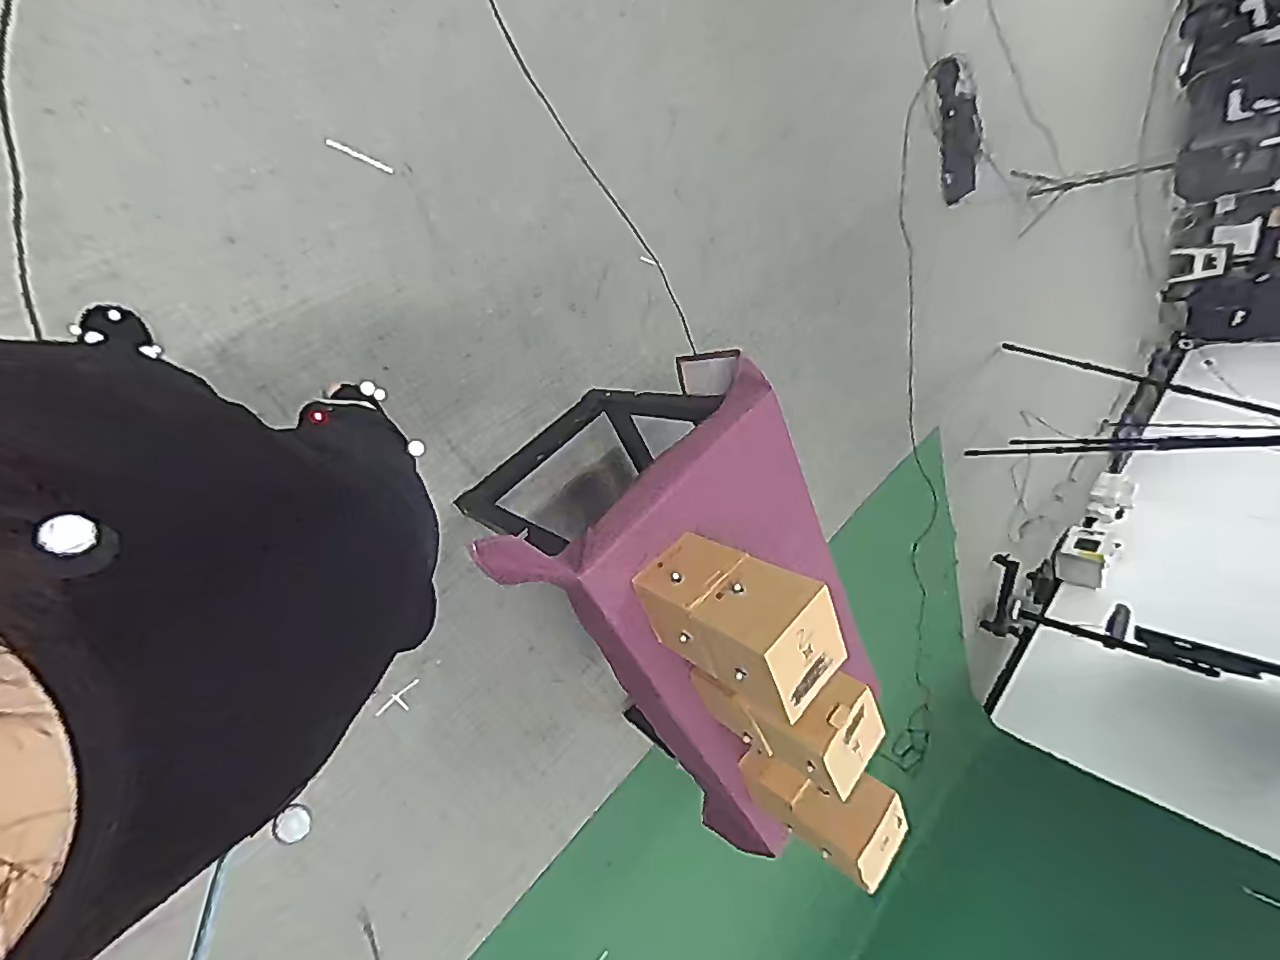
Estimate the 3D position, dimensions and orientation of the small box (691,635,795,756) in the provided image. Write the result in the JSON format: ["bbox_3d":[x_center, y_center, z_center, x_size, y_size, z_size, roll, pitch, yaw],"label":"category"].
[{"bbox_3d":[0.243,0.459,1.202,0.168,0.176,0.179,-41,122,-26],"label":"small box"}]

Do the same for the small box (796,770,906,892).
[{"bbox_3d":[0.480,0.782,1.249,0.179,0.176,0.168,-40,122,-25],"label":"small box"}]

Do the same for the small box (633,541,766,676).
[{"bbox_3d":[0.112,0.235,1.050,0.168,0.176,0.179,-36,120,-27],"label":"small box"}]

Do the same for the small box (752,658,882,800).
[{"bbox_3d":[0.349,0.482,1.078,0.168,0.176,0.179,-43,124,-23],"label":"small box"}]

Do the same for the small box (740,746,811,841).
[{"bbox_3d":[0.377,0.753,1.373,0.168,0.176,0.179,-37,121,-27],"label":"small box"}]
